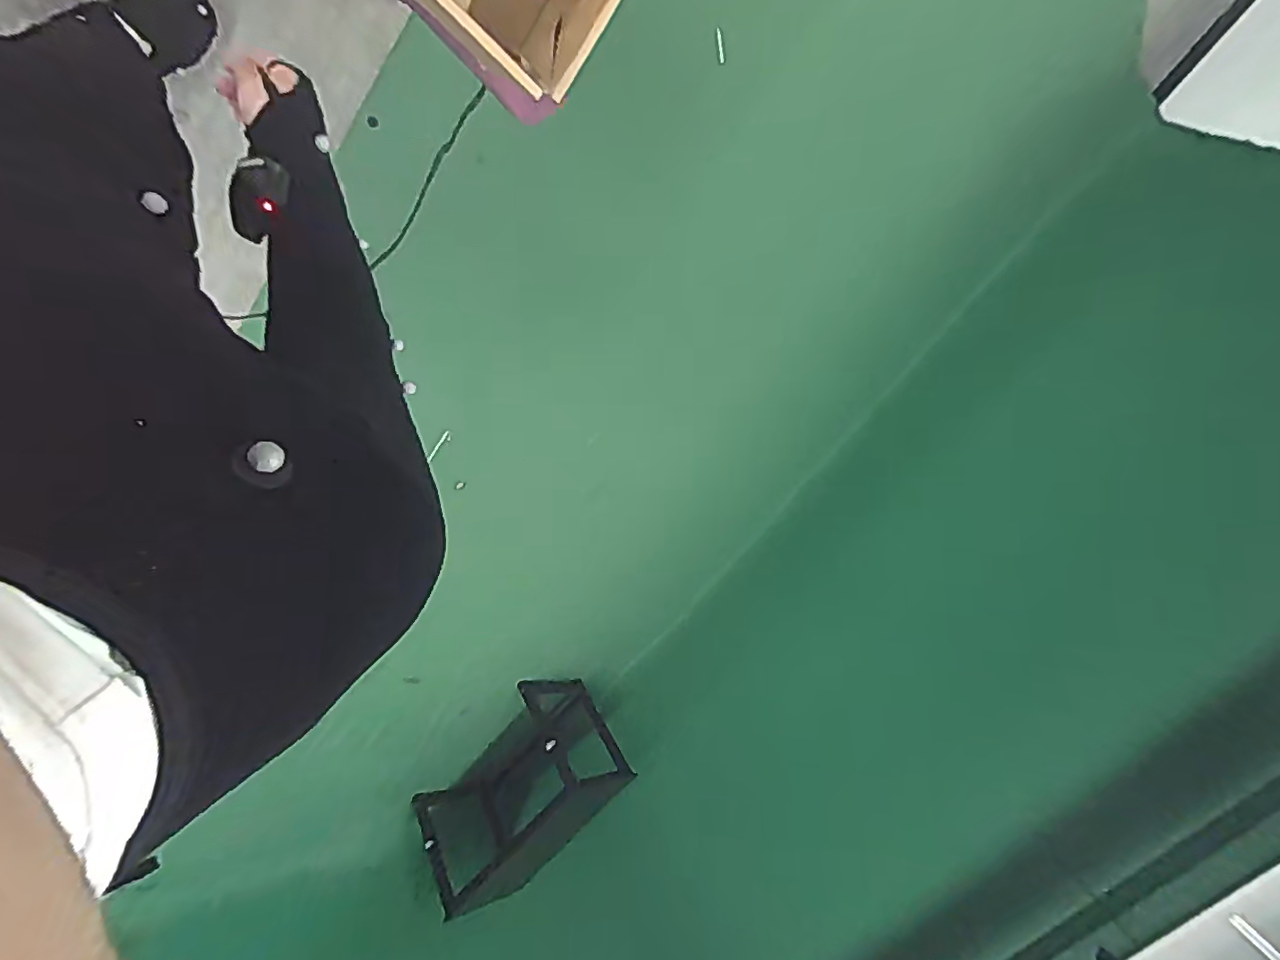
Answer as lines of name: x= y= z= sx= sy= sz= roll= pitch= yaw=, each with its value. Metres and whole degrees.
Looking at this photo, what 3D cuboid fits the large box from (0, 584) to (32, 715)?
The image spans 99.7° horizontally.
large box: x=-1.819 y=0.434 z=1.288 sx=0.408 sy=0.320 sz=0.320 roll=-16 pitch=139 yaw=-31
